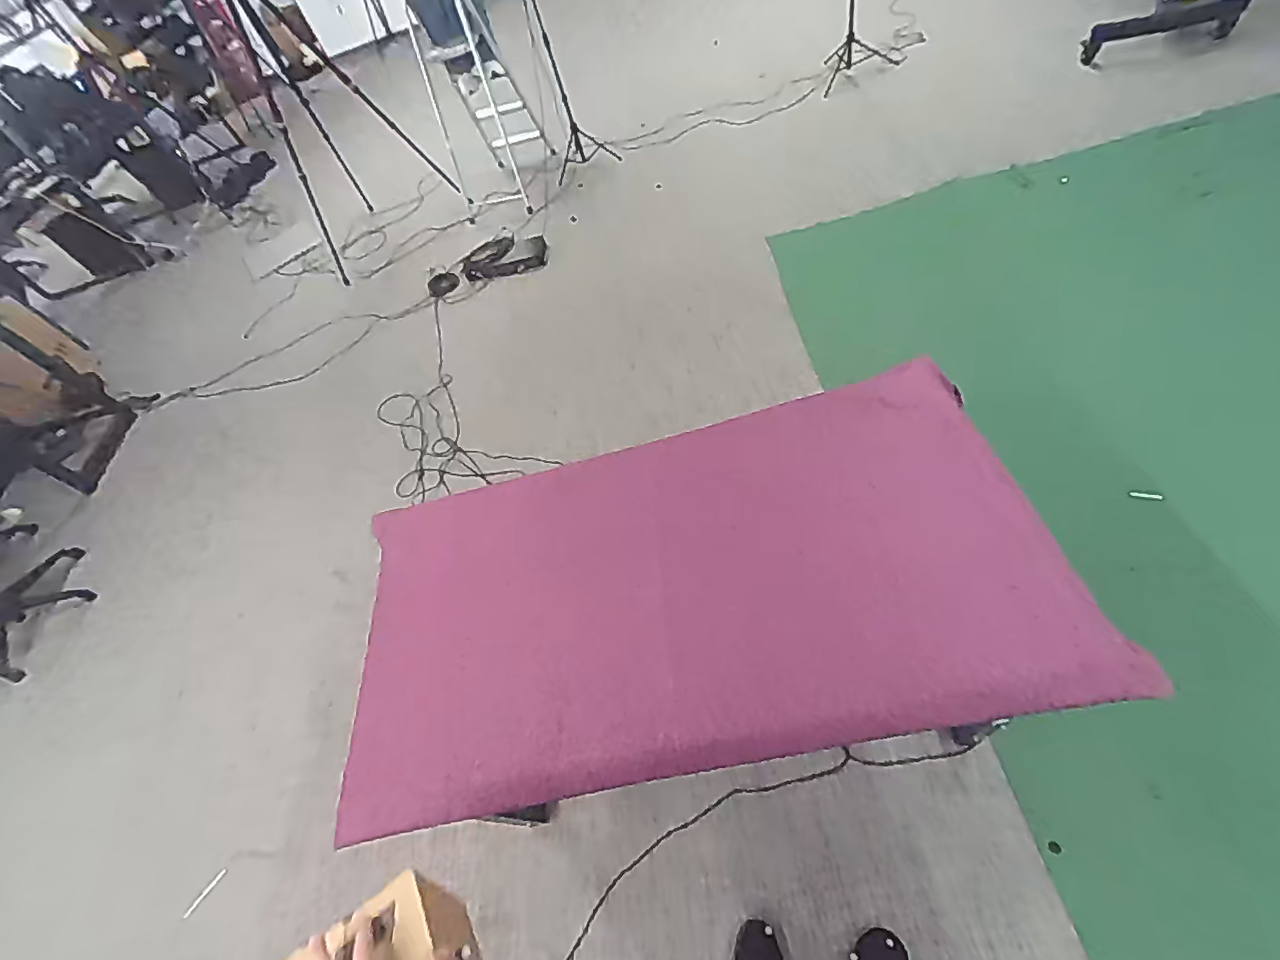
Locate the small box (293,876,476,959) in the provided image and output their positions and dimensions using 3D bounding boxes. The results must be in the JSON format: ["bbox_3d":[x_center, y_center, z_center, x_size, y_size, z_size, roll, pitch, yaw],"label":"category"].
[{"bbox_3d":[-0.291,0.624,0.629,0.168,0.176,0.179,-31,42,-20],"label":"small box"}]
